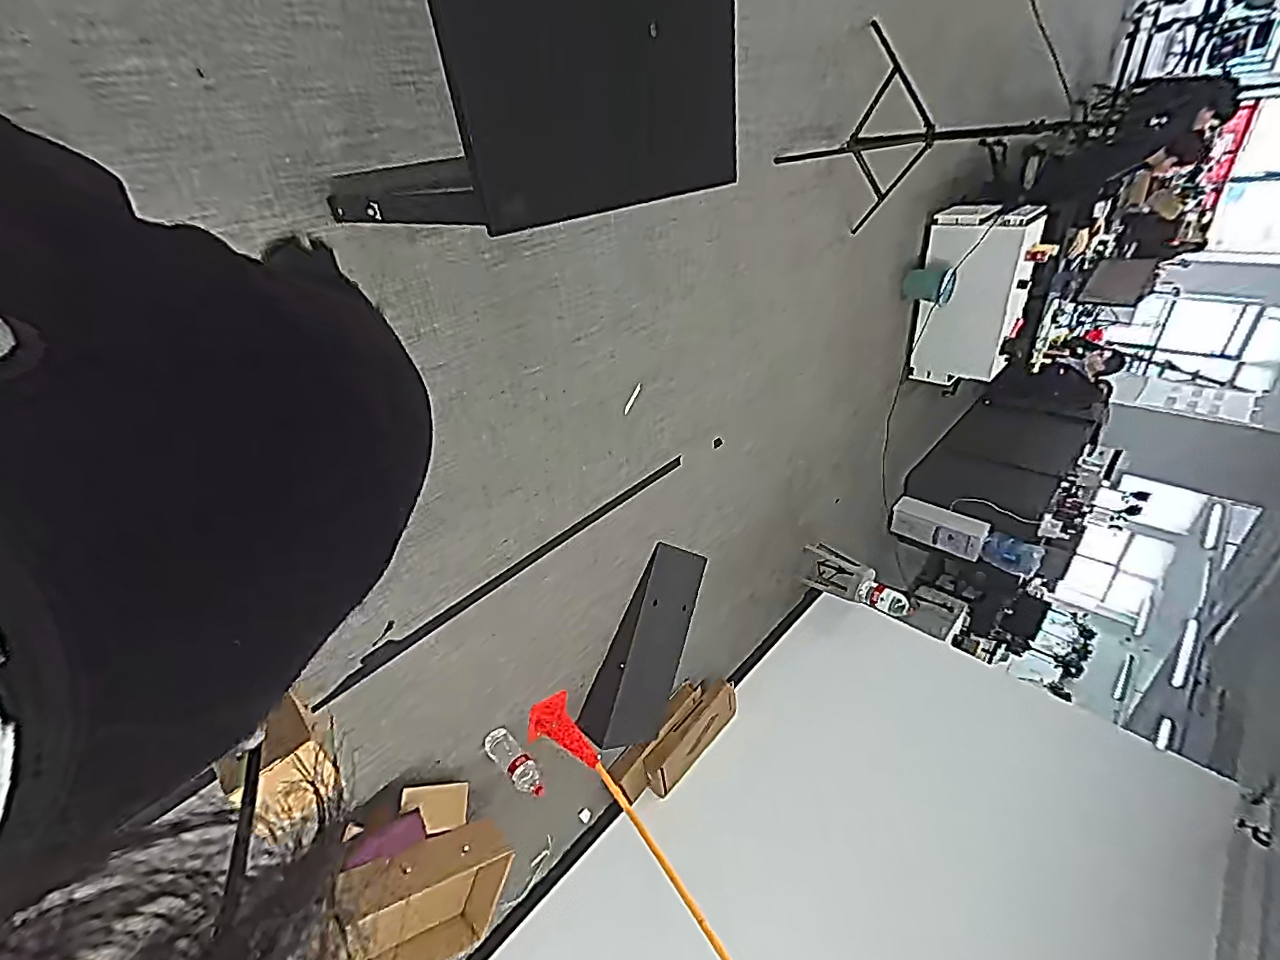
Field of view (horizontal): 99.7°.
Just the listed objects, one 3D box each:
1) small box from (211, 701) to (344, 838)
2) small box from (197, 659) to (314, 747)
[{"bbox_3d":[-0.787,0.615,1.174,0.168,0.176,0.179,-33,131,-33],"label":"small box"},{"bbox_3d":[-0.900,0.561,1.277,0.168,0.176,0.179,-33,129,-34],"label":"small box"}]
